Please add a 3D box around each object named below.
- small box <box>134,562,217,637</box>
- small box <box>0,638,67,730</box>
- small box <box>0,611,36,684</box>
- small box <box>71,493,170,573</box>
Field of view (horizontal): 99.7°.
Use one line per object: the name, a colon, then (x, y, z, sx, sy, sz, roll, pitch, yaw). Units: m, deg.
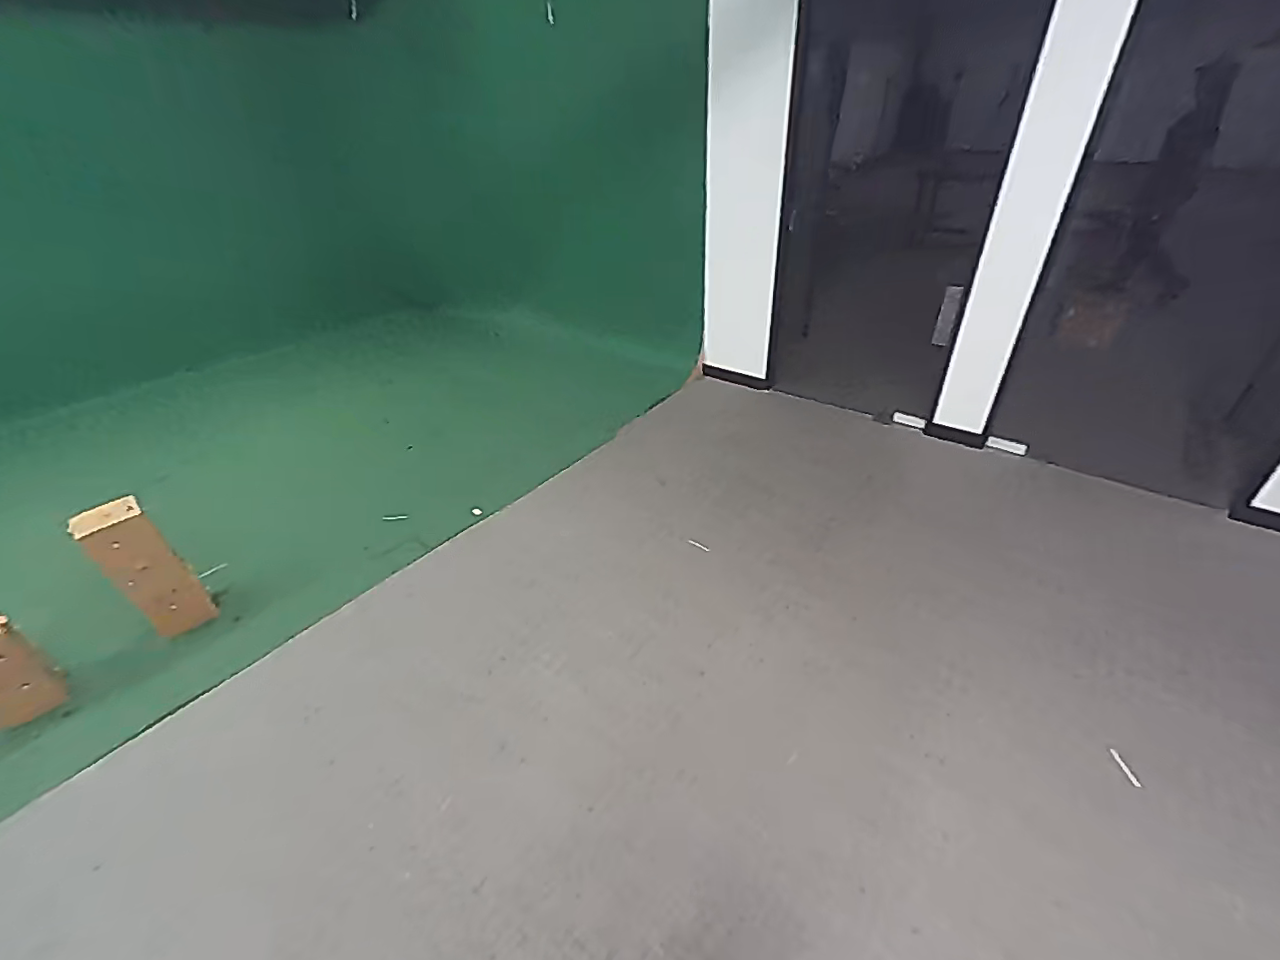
small box: (-1.710, 0.442, 2.003, 0.168, 0.176, 0.179, 28, 46, 36)
small box: (-1.986, 0.649, 1.725, 0.179, 0.176, 0.168, -31, 43, -33)
small box: (-1.986, 0.521, 1.625, 0.168, 0.176, 0.179, 22, 43, 32)
small box: (-1.733, 0.179, 1.808, 0.168, 0.176, 0.179, 26, 45, 35)
